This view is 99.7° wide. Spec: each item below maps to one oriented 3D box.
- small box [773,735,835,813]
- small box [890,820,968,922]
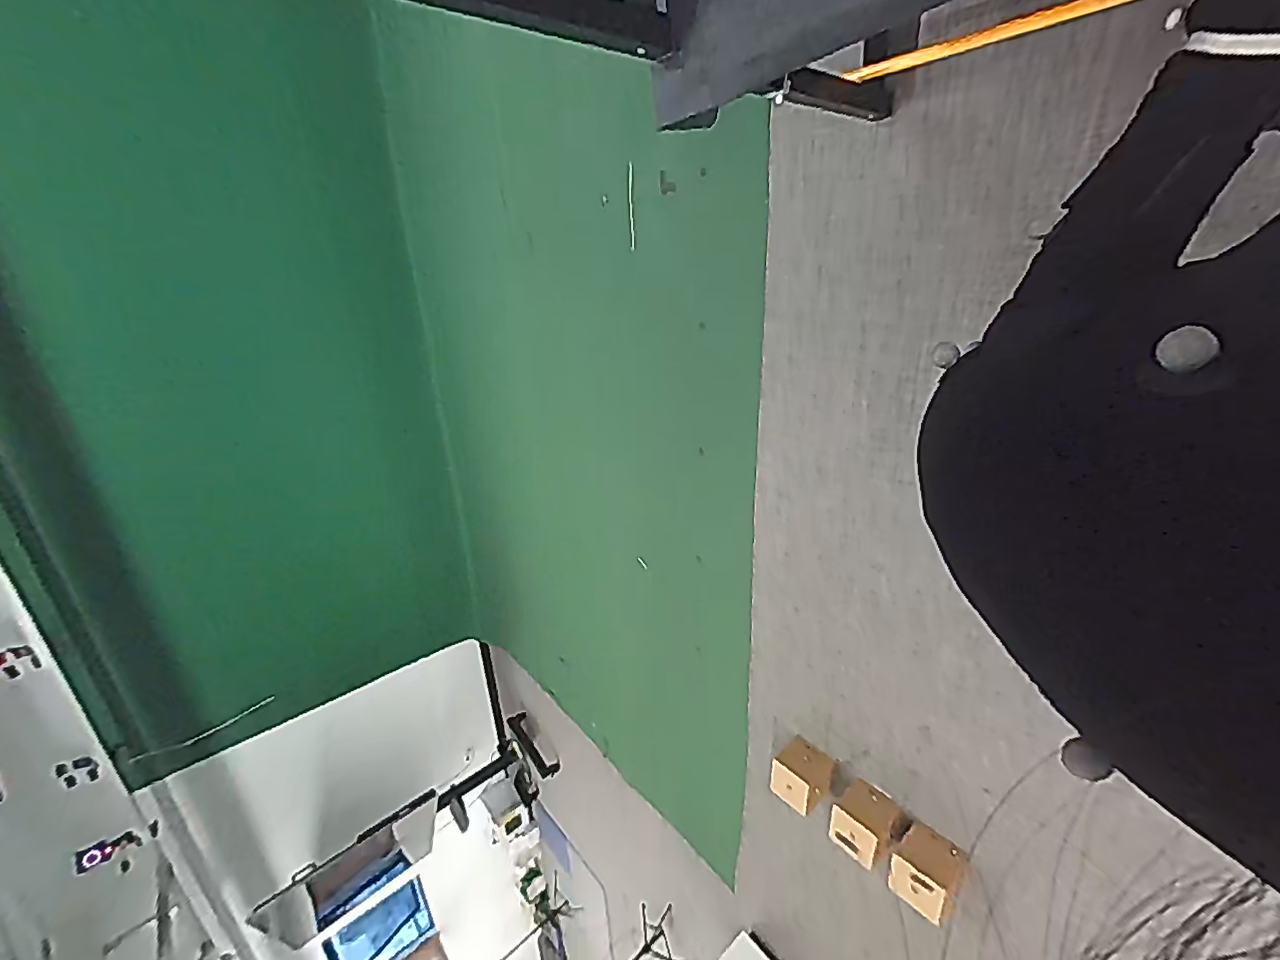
[{"bbox_3d":[0.644,1.146,2.124,0.168,0.176,0.179,24,123,47],"label":"small box"},{"bbox_3d":[0.950,1.274,1.775,0.168,0.176,0.179,21,122,46],"label":"small box"}]
